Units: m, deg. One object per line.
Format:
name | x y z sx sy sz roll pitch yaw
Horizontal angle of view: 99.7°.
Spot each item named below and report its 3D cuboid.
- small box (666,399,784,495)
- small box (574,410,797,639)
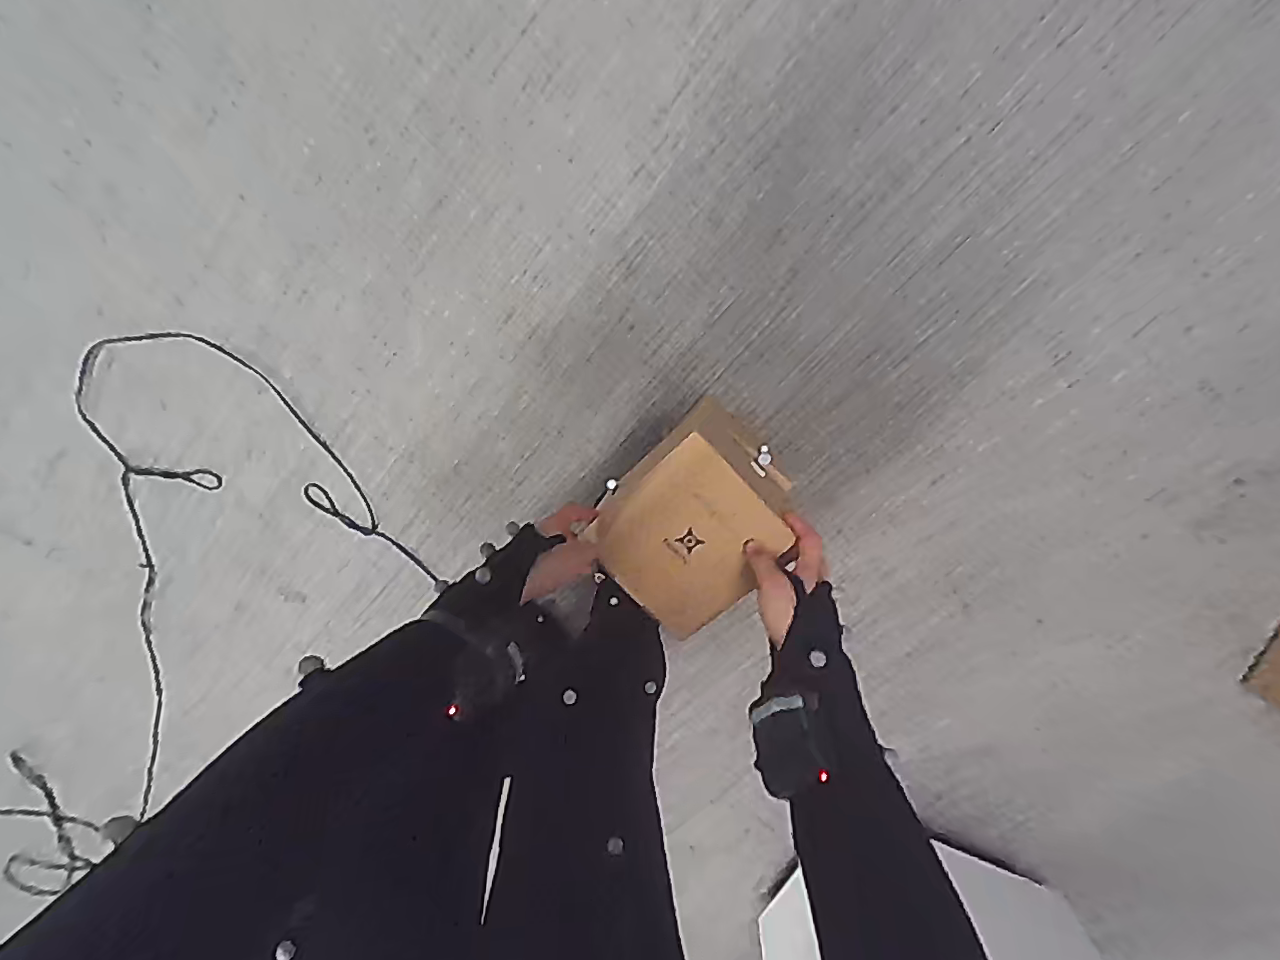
small box | 0.106 -0.008 0.885 0.168 0.176 0.179 40 107 -9
small box | 0.056 0.042 0.631 0.179 0.176 0.168 -42 97 18
